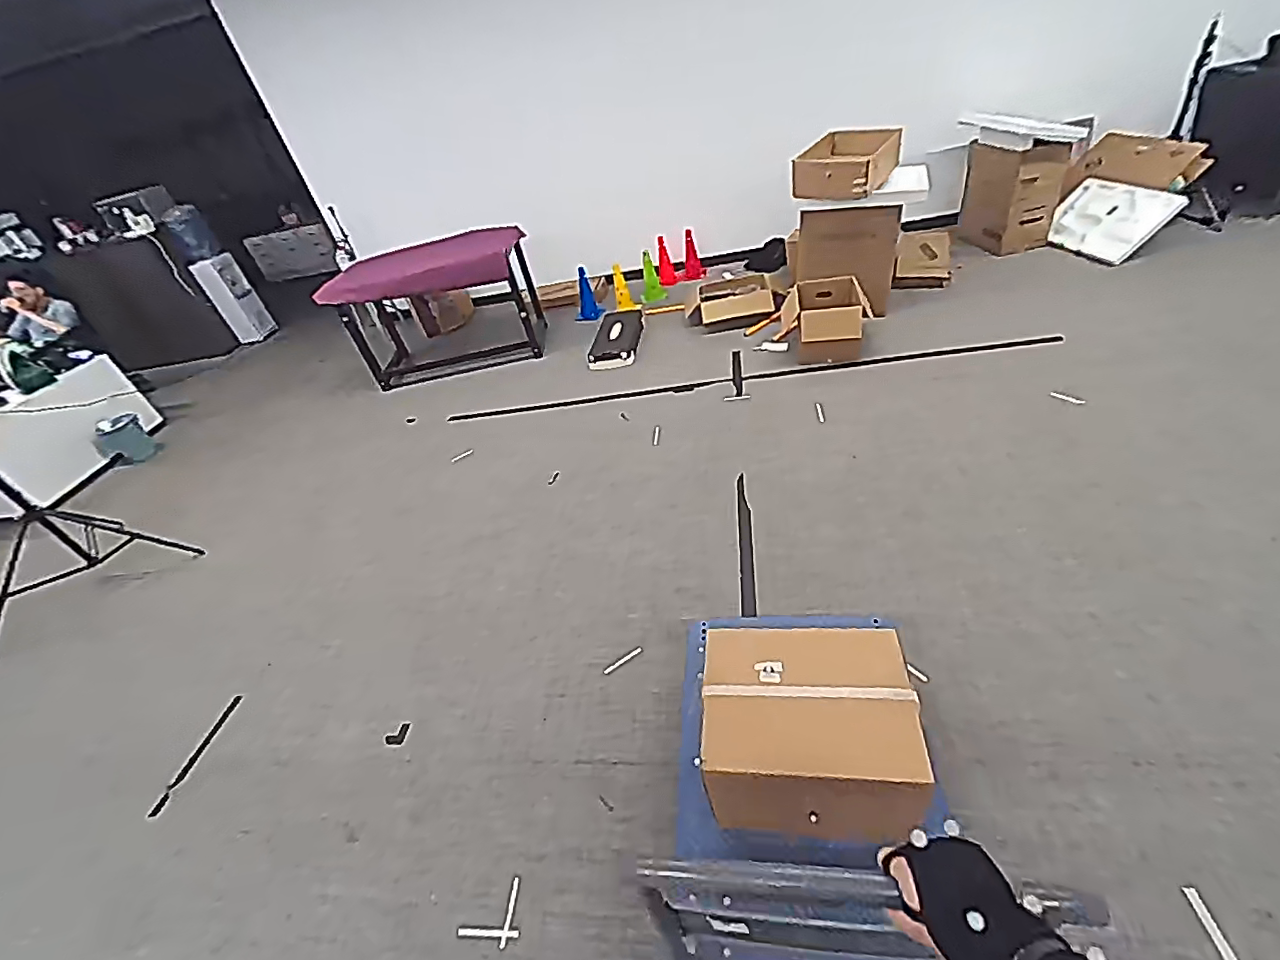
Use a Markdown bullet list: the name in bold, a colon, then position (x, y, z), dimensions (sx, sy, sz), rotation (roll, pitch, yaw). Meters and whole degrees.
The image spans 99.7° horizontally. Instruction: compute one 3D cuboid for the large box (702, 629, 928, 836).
- **large box**: position (0.361, 0.551, 1.188), dimensions (0.408, 0.320, 0.320), rotation (-5, 38, 14)
